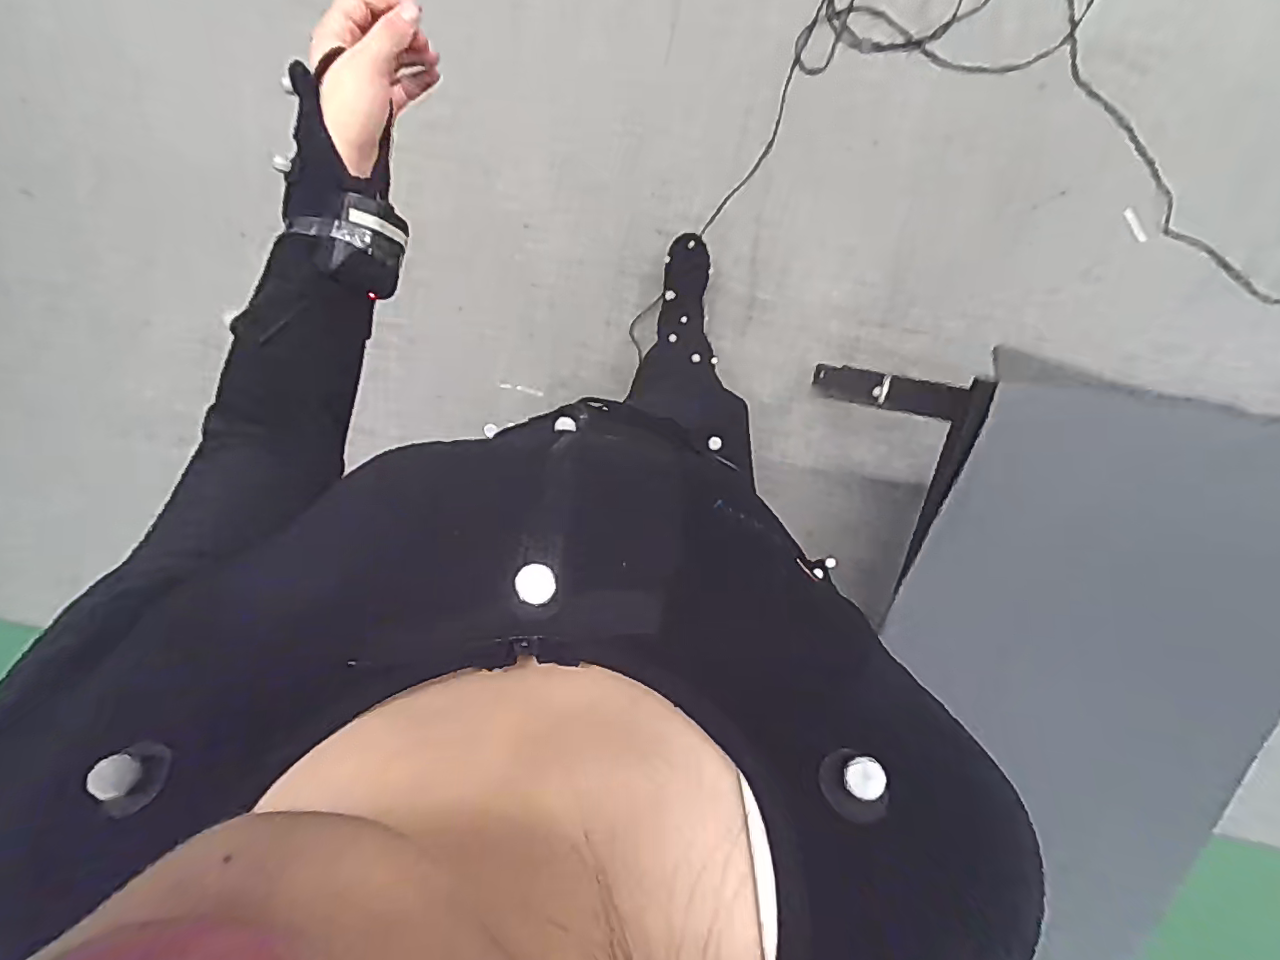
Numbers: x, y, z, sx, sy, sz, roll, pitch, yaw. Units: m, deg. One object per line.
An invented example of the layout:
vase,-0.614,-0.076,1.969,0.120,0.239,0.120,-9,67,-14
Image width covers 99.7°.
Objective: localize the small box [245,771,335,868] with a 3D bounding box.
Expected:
small box,-1.085,1.052,1.689,0.168,0.176,0.179,18,104,-4
